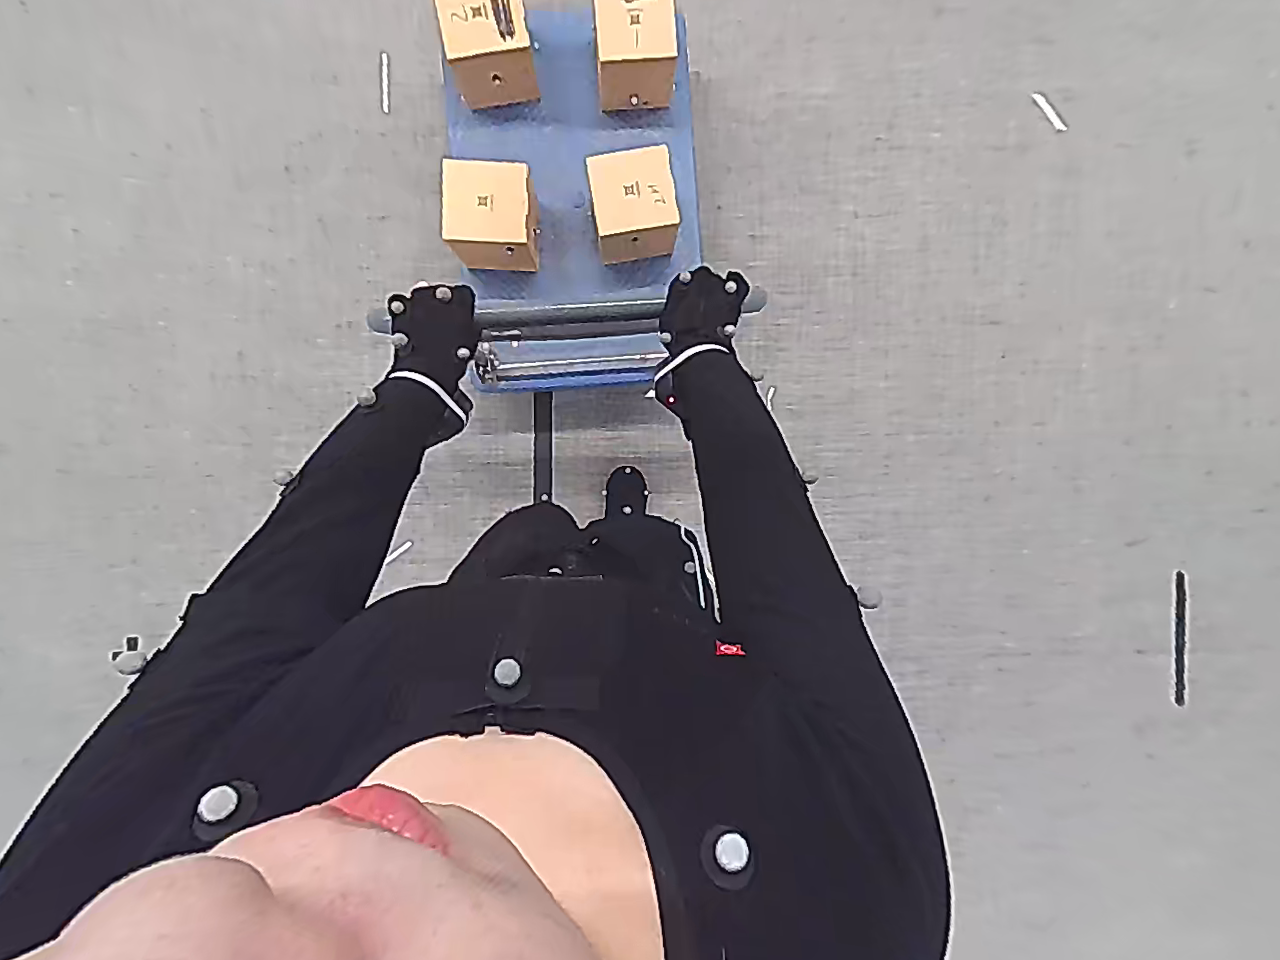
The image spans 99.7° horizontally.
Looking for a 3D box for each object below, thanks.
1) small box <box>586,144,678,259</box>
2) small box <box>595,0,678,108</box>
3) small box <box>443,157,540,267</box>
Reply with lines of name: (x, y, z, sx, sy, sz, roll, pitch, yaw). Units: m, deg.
small box: (-0.017, -0.611, 1.209, 0.179, 0.176, 0.168, -10, 93, -1)
small box: (-0.012, -0.965, 1.194, 0.168, 0.176, 0.179, -5, 94, -2)
small box: (-0.323, -0.585, 1.199, 0.179, 0.176, 0.168, 1, 92, -4)
